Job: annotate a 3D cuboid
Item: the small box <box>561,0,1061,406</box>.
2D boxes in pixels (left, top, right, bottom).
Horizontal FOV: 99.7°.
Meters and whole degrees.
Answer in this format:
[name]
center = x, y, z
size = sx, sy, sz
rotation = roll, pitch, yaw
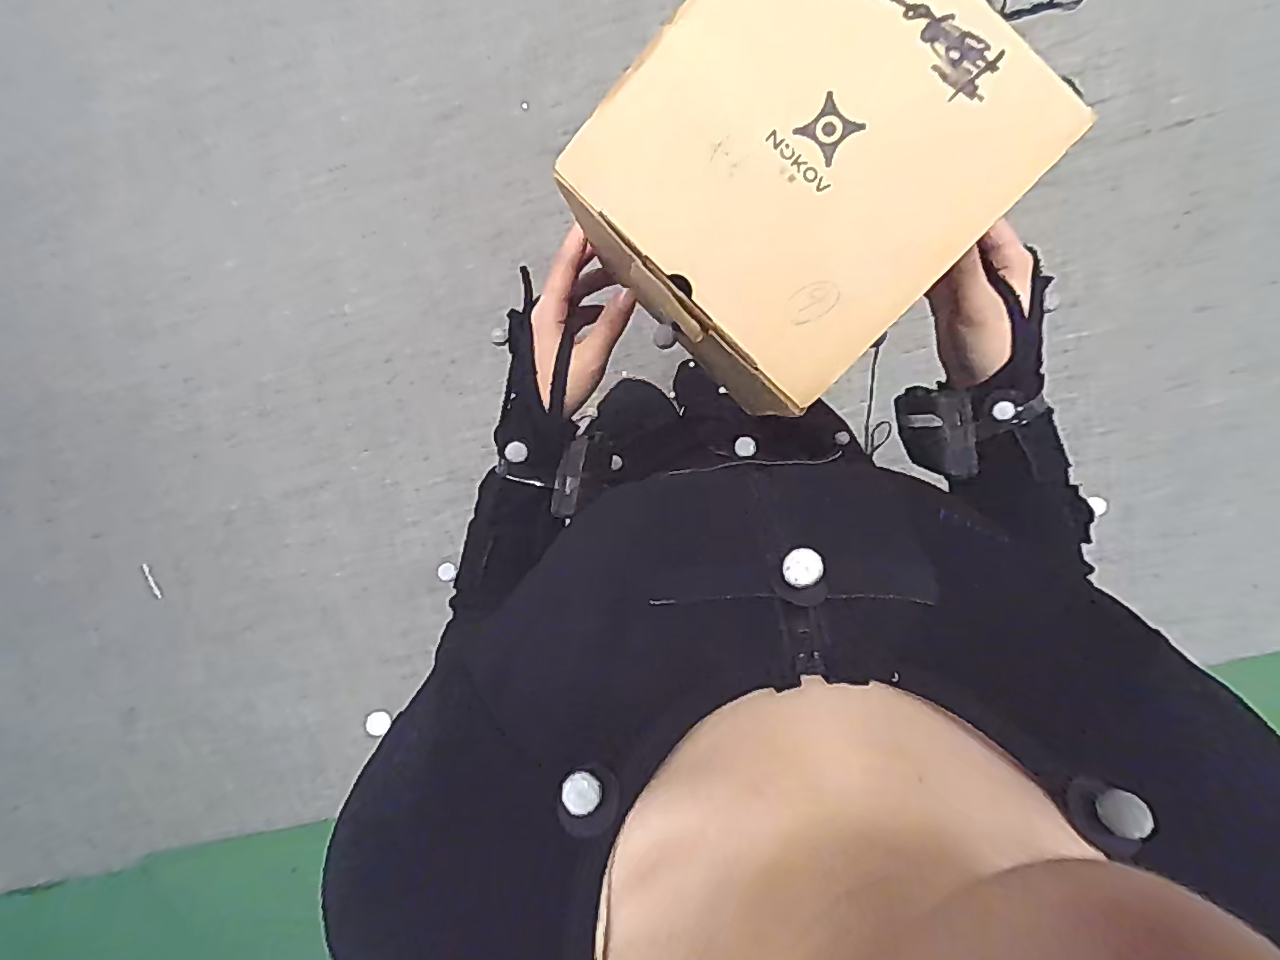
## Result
[small box]
center = 0.083, -0.160, 0.334
size = 0.168, 0.176, 0.179
rotation = 44, 98, -1
